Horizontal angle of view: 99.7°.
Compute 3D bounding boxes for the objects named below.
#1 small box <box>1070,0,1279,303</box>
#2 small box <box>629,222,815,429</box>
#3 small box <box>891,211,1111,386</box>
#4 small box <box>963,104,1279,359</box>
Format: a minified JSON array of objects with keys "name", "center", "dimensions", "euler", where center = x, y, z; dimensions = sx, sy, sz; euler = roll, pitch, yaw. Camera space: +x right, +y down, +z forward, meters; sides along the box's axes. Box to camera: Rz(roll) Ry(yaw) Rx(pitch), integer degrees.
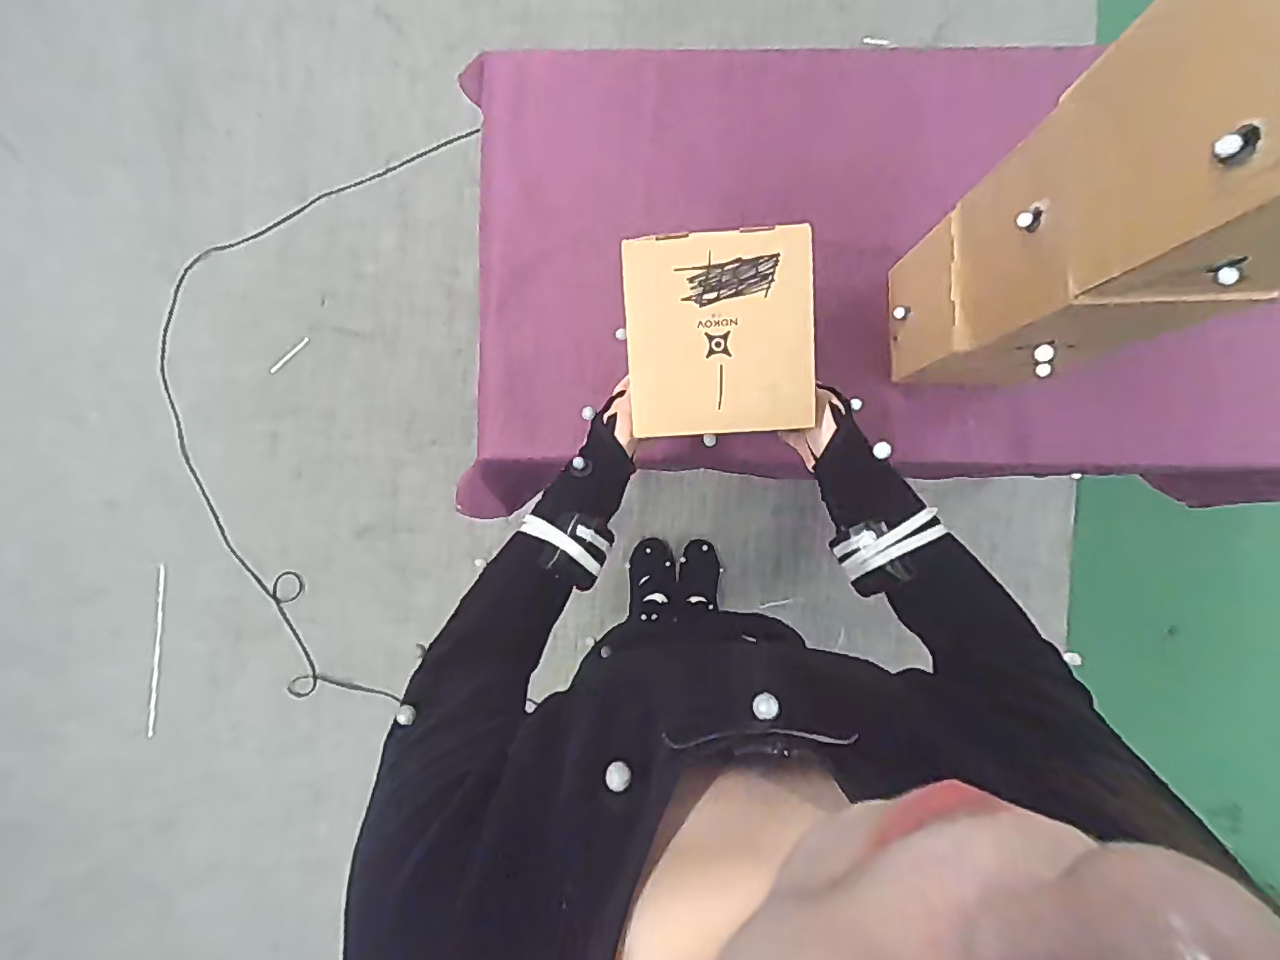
[{"name":"small box","center":[0.430,-0.235,0.361],"dimensions":[0.168,0.176,0.179],"euler":[-2,89,2]},{"name":"small box","center":[0.079,-0.145,0.566],"dimensions":[0.168,0.176,0.179],"euler":[-3,96,5]},{"name":"small box","center":[0.444,-0.218,0.686],"dimensions":[0.179,0.176,0.168],"euler":[1,88,2]},{"name":"small box","center":[0.439,-0.225,0.523],"dimensions":[0.168,0.176,0.179],"euler":[0,89,2]}]
